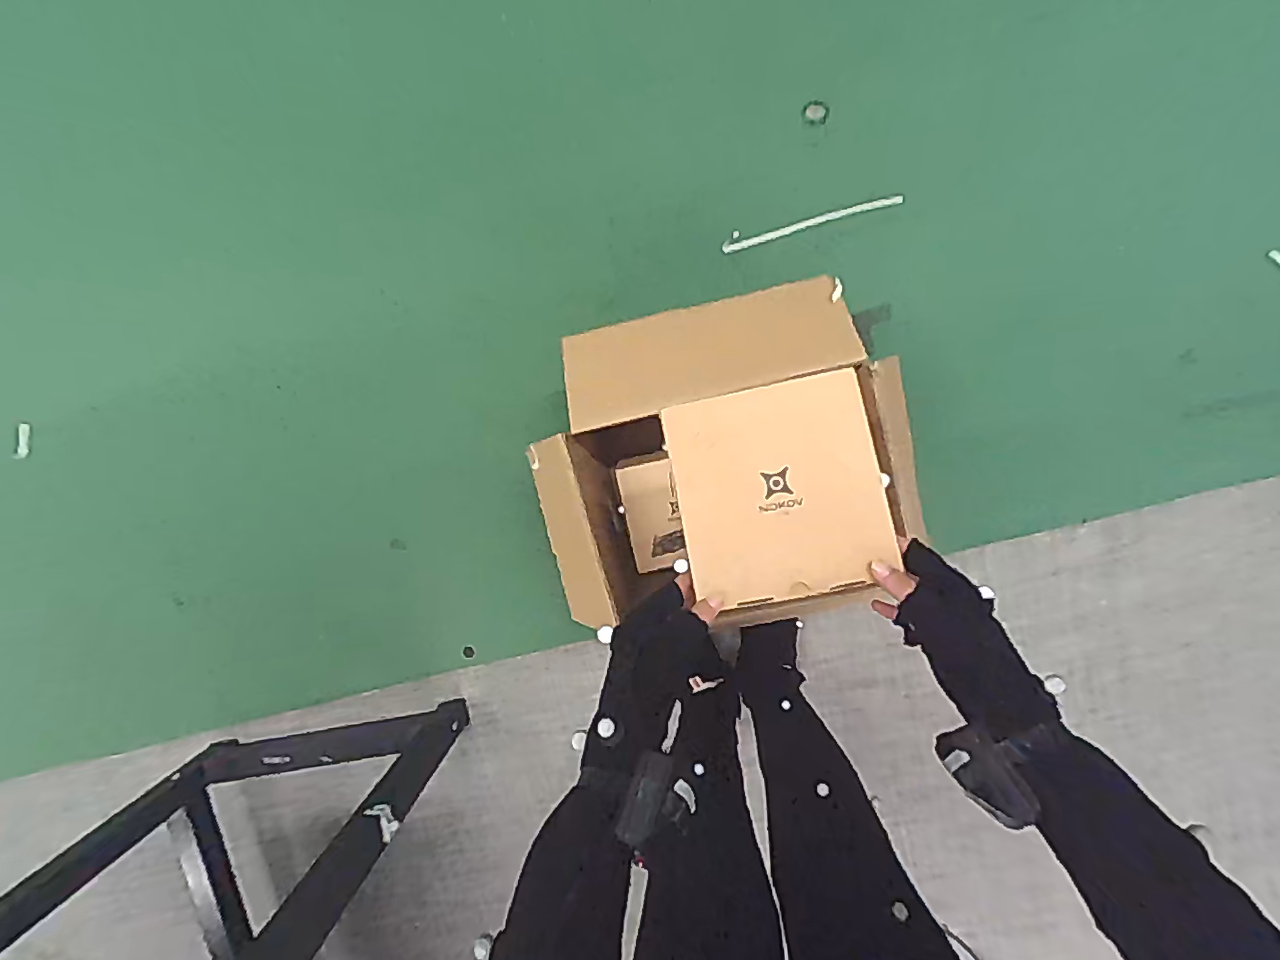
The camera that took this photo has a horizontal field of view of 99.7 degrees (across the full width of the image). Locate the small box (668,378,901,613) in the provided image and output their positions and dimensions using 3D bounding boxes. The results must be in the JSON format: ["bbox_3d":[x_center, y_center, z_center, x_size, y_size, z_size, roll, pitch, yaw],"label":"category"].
[{"bbox_3d":[0.124,0.022,0.530,0.168,0.176,0.179,-12,82,5],"label":"small box"}]
